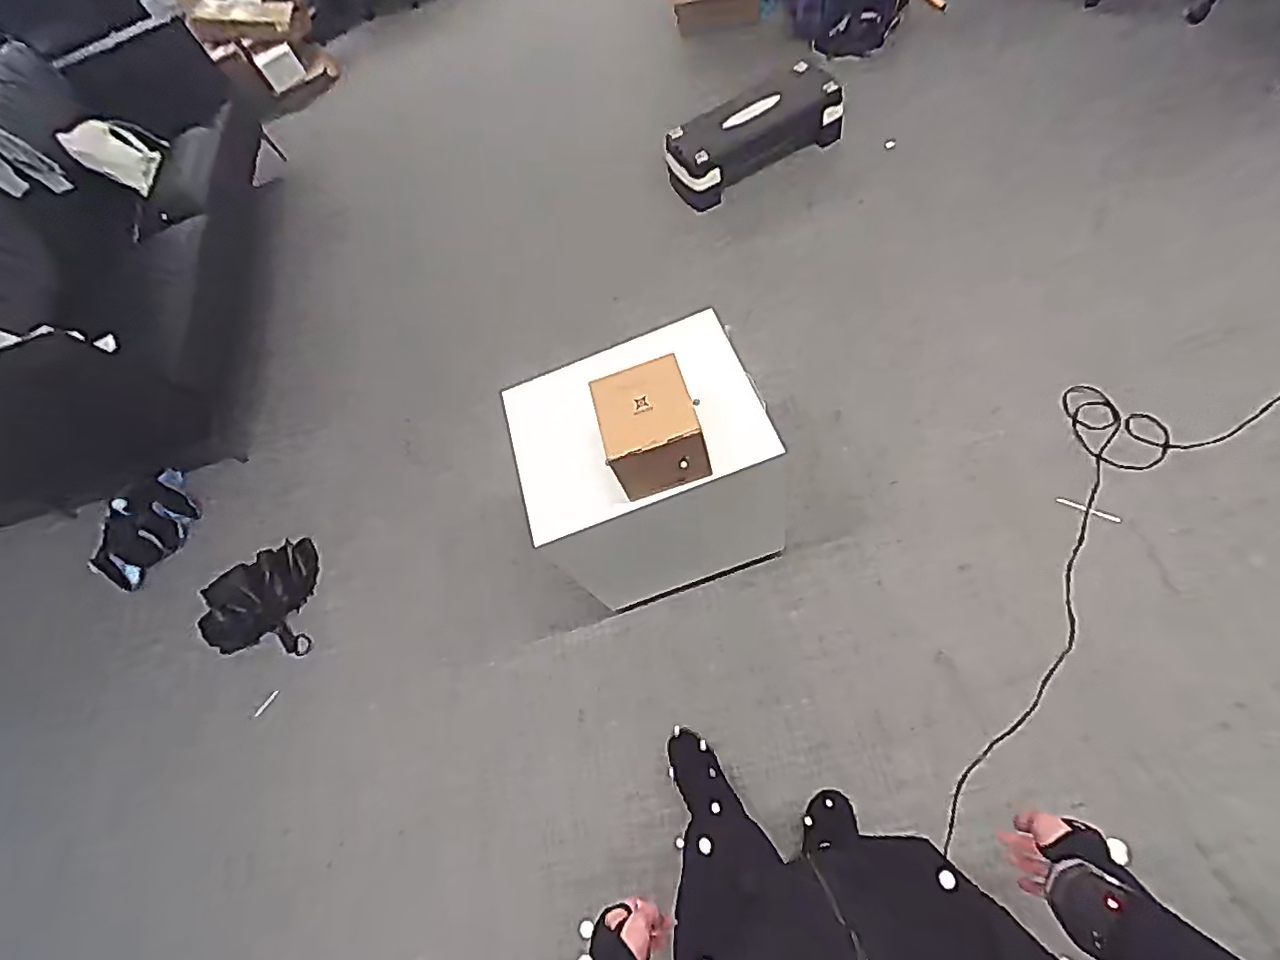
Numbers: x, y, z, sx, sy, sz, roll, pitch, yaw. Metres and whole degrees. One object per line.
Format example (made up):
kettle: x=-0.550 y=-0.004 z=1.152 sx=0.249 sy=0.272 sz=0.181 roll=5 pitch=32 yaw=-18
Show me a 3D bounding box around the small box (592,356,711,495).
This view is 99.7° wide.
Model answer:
small box: x=0.025 y=-0.090 z=0.997 sx=0.168 sy=0.176 sz=0.179 roll=-18 pitch=59 yaw=4
